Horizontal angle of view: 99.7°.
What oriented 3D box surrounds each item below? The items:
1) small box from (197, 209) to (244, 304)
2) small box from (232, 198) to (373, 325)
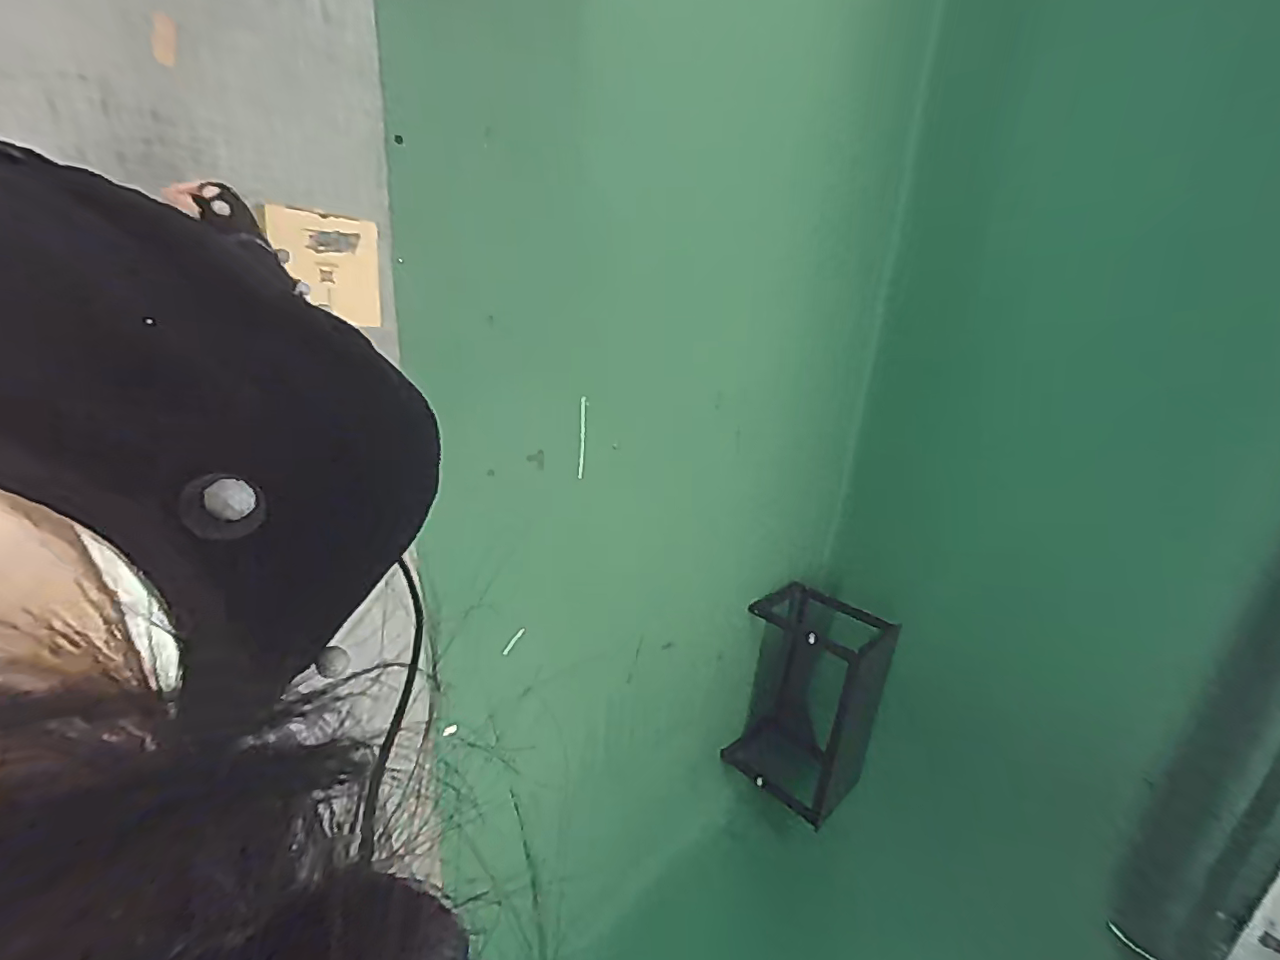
[{"bbox_3d":[-0.816,-0.455,1.148,0.179,0.176,0.168,0,107,-48],"label":"small box"},{"bbox_3d":[-0.581,-0.370,0.934,0.168,0.176,0.179,-12,116,-46],"label":"small box"}]
